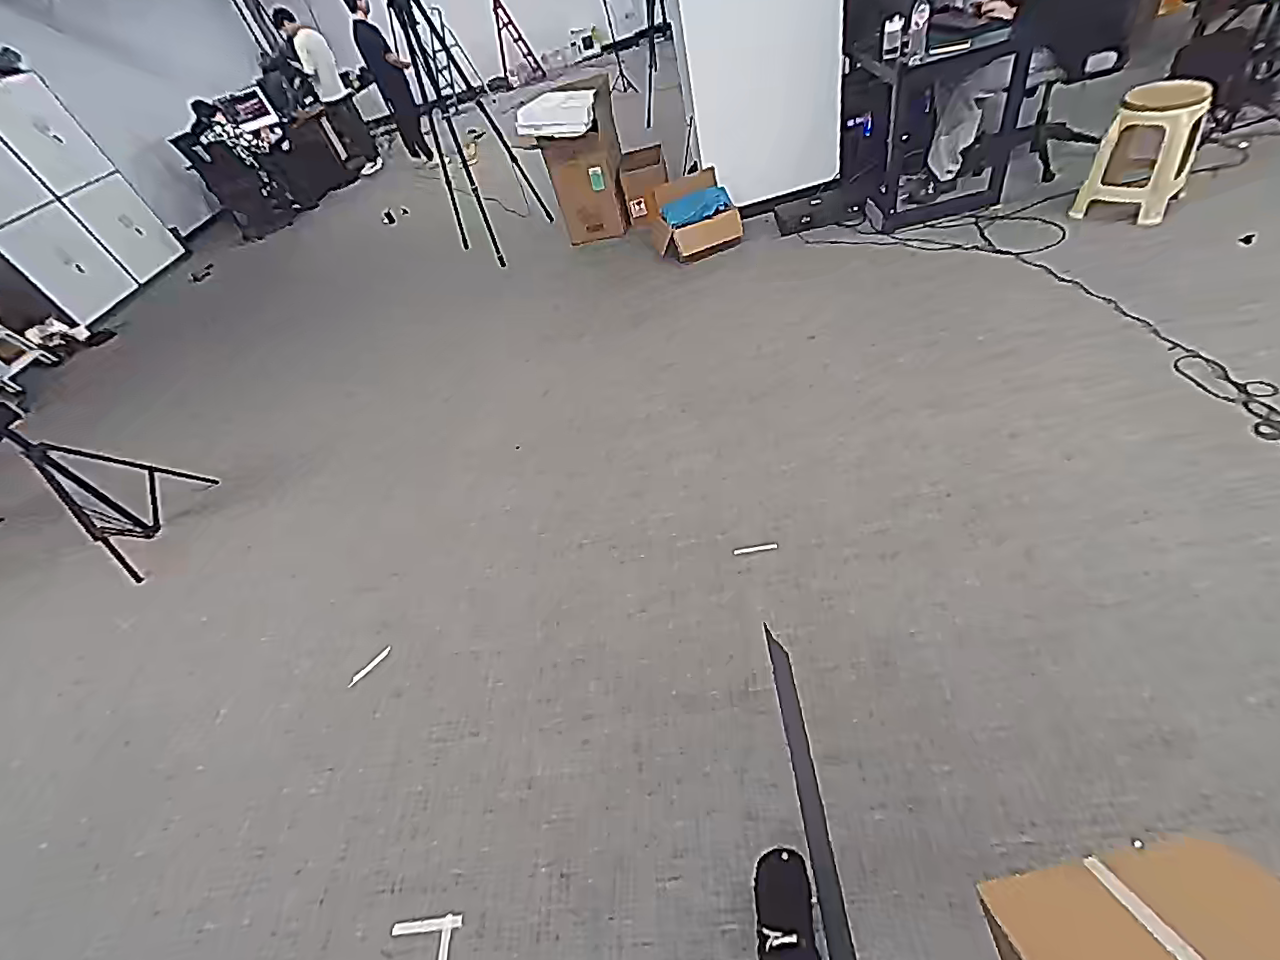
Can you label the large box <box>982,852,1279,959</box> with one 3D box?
[{"bbox_3d":[0.638,0.676,0.534,0.320,0.408,0.320,-19,86,7],"label":"large box"}]
